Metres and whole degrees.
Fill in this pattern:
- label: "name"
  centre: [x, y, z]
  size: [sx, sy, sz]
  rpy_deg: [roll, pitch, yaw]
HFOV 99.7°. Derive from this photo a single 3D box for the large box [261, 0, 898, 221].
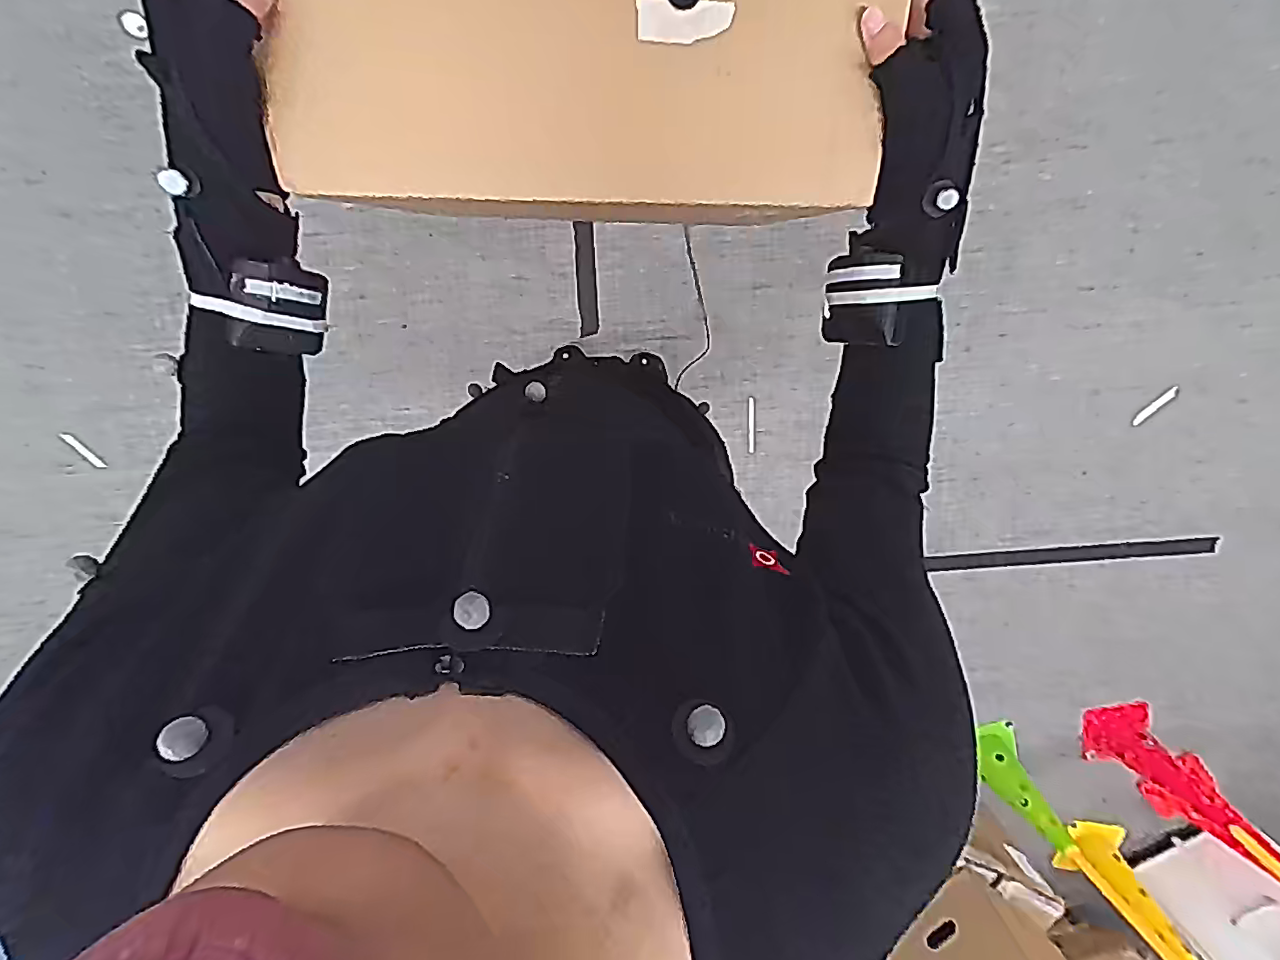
- label: "large box"
  centre: [-0.039, -0.399, 0.455]
  size: [0.408, 0.320, 0.320]
  rpy_deg: [0, 114, -1]
